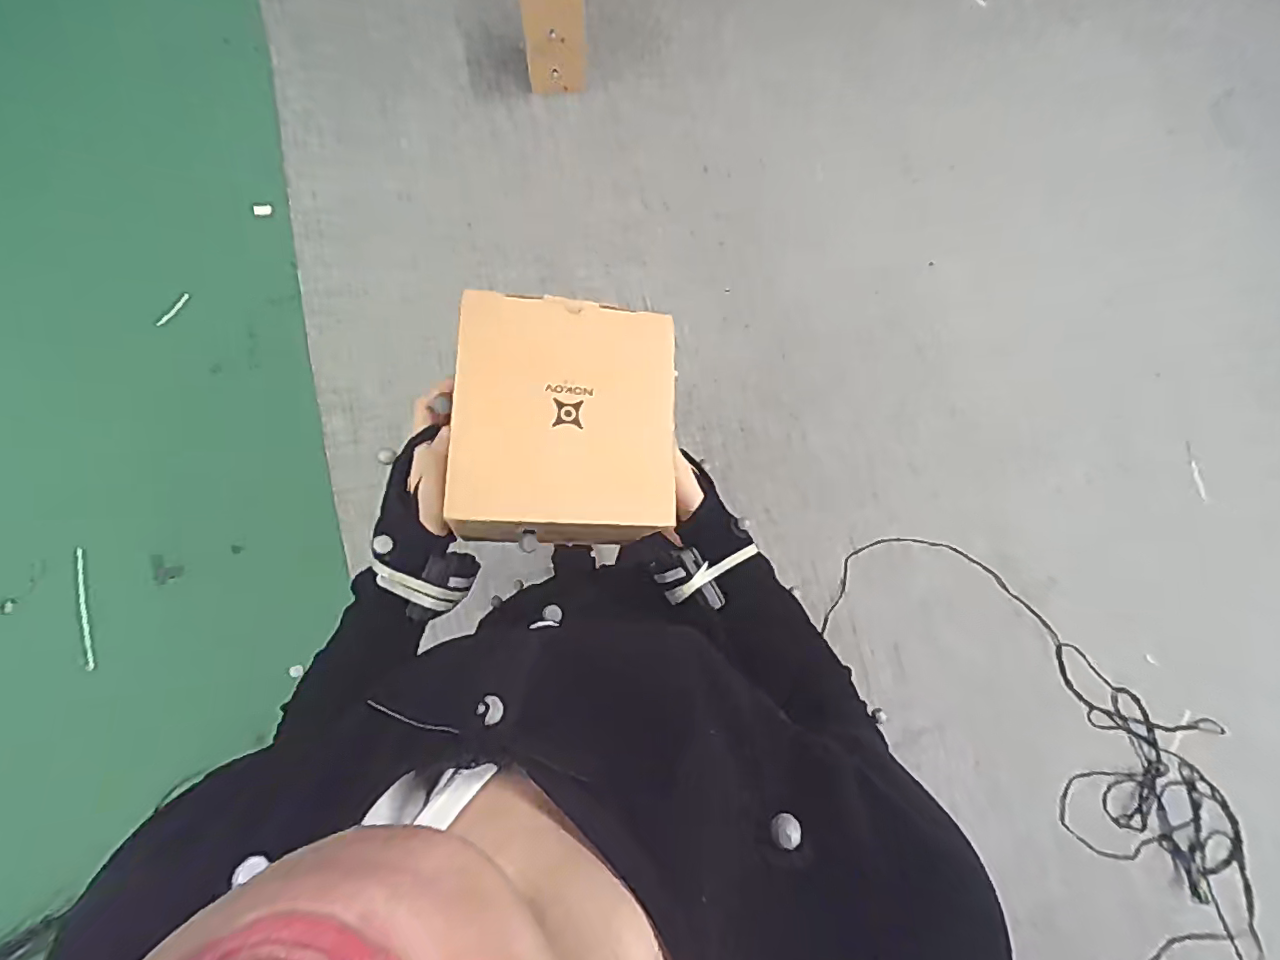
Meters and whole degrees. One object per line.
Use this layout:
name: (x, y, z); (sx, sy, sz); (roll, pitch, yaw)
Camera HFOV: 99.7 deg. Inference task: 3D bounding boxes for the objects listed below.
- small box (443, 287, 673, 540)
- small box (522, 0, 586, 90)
small box: (-0.073, -0.041, 0.483); (0.168, 0.176, 0.179); (4, 77, -13)
small box: (-0.250, -1.287, 1.592); (0.168, 0.176, 0.179); (-5, 84, -5)
